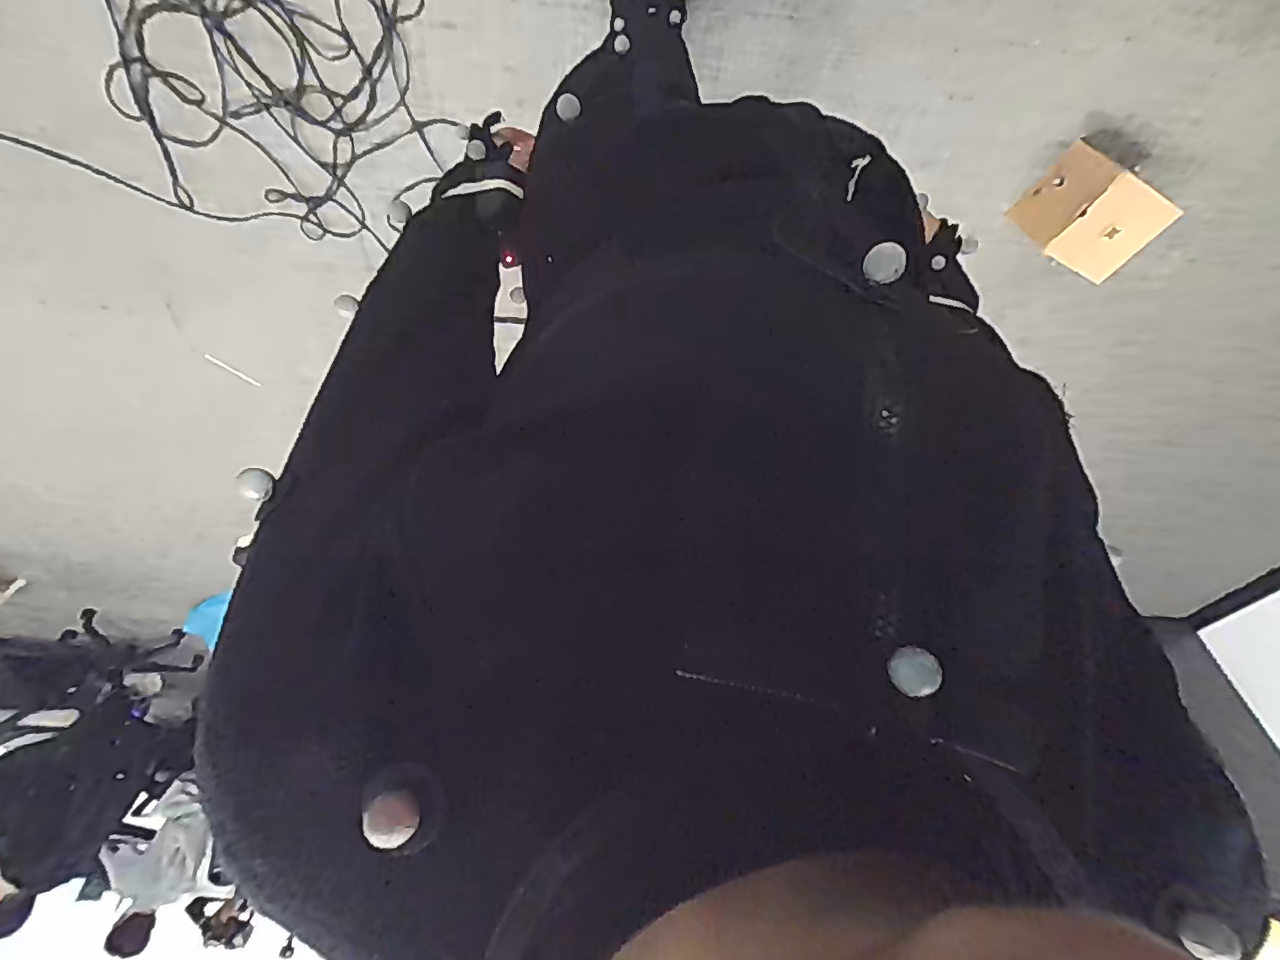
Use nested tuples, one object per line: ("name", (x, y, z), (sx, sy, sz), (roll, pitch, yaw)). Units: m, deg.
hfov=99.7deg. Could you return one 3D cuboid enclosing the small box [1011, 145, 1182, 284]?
("small box", (0.907, -0.538, 1.091), (0.179, 0.176, 0.168), (17, 137, -18))
